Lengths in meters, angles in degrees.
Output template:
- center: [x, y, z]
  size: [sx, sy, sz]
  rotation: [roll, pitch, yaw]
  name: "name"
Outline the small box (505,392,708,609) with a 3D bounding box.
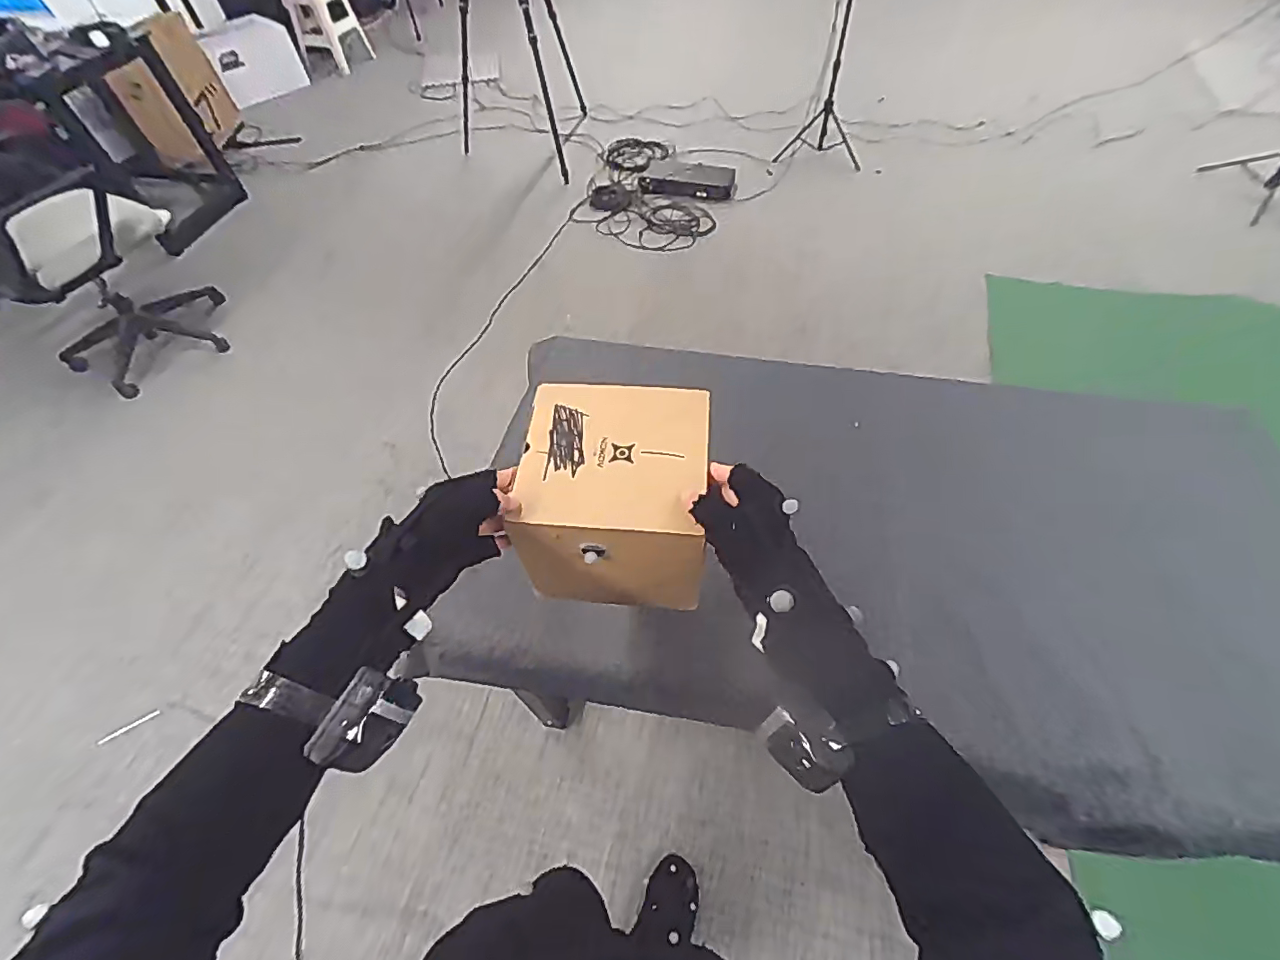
- center: [-0.022, 0.026, 0.571]
  size: [0.179, 0.176, 0.168]
  rotation: [3, 55, 4]
  name: "small box"
